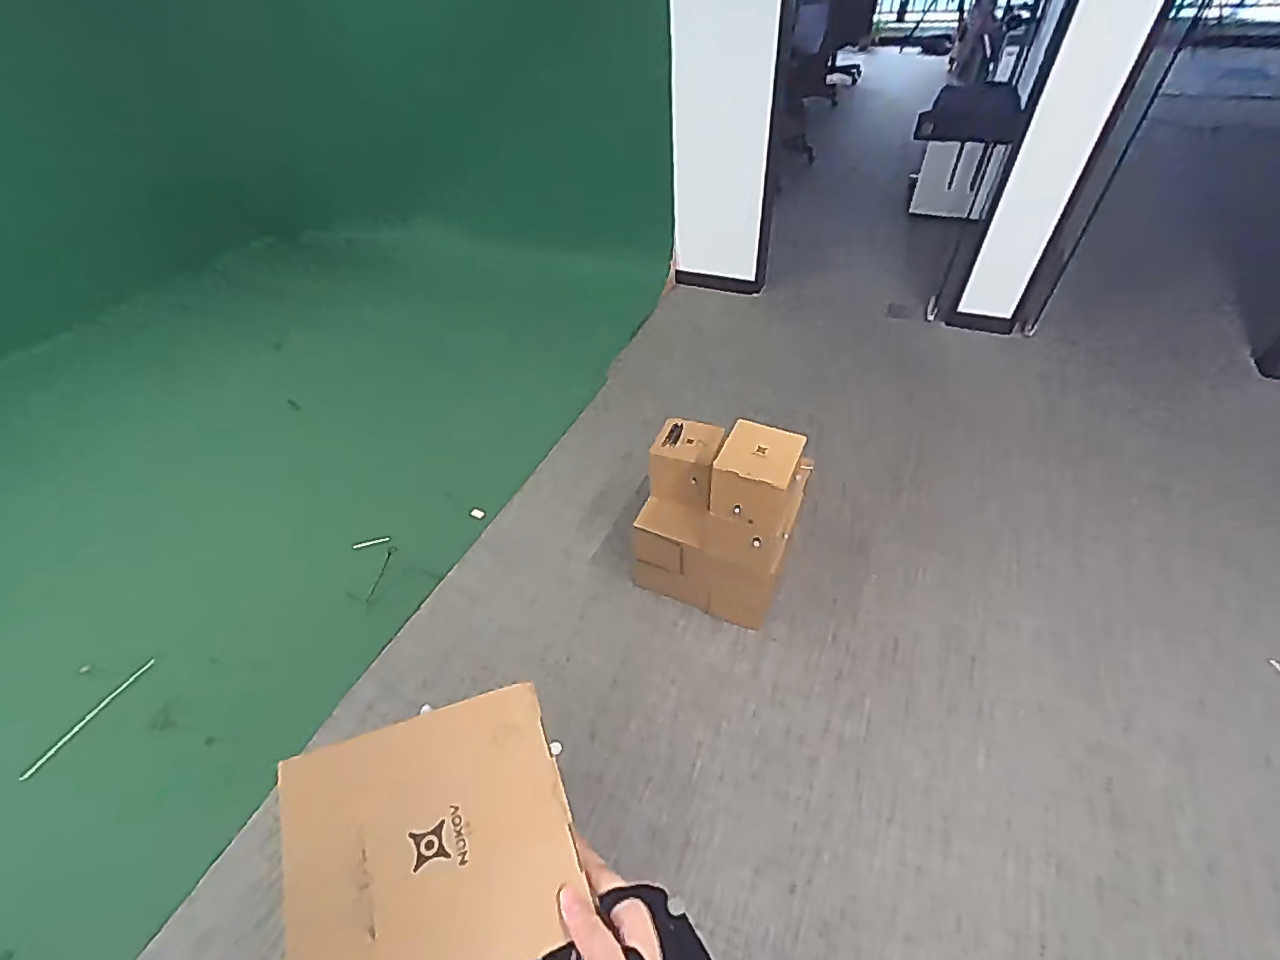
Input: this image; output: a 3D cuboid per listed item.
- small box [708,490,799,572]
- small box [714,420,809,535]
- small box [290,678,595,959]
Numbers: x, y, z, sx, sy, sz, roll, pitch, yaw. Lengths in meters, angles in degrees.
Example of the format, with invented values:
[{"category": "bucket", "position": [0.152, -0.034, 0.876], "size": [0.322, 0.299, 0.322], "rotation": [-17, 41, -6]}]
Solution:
[{"category": "small box", "position": [0.284, 0.109, 1.377], "size": [0.179, 0.176, 0.168], "rotation": [18, 50, 20]}, {"category": "small box", "position": [0.277, -0.006, 1.262], "size": [0.168, 0.176, 0.179], "rotation": [19, 51, 20]}, {"category": "small box", "position": [-0.151, 0.281, 0.427], "size": [0.179, 0.176, 0.168], "rotation": [-11, 58, -20]}]
